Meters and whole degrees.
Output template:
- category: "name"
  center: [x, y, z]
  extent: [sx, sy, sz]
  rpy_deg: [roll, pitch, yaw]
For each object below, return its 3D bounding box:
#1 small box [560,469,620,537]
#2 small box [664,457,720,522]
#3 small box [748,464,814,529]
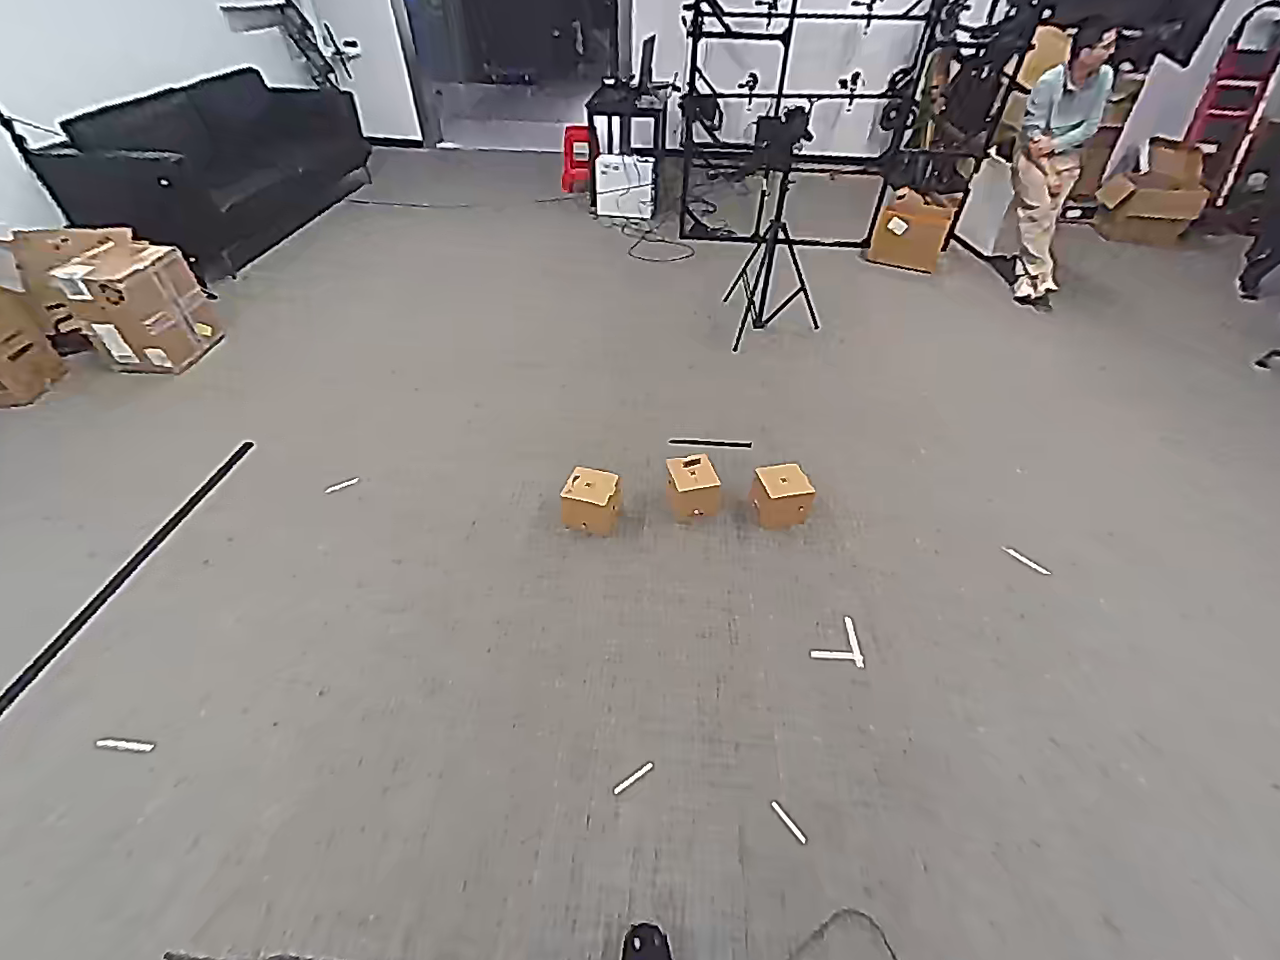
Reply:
- category: "small box"
  center: [-0.181, 0.089, 2.015]
  extent: [0.179, 0.176, 0.168]
  rpy_deg: [12, 44, 12]
- category: "small box"
  center: [0.192, 0.037, 2.073]
  extent: [0.168, 0.176, 0.179]
  rpy_deg: [-10, 45, -11]
- category: "small box"
  center: [0.530, 0.064, 2.053]
  extent: [0.179, 0.176, 0.168]
  rpy_deg: [-10, 44, -10]
